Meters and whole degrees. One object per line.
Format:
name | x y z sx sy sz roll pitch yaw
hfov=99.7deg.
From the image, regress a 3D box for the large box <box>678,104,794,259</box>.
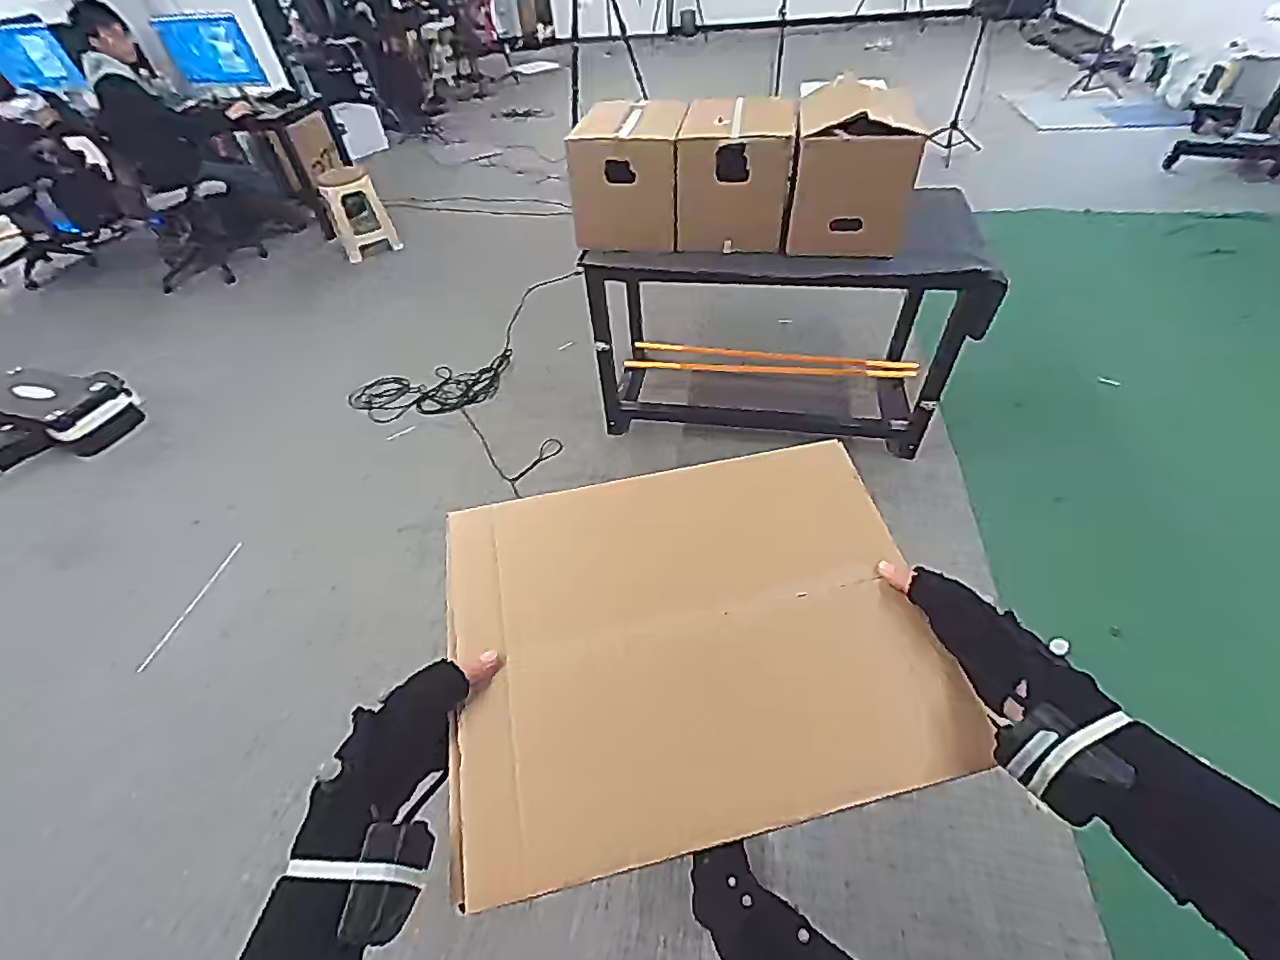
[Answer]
large box | 0.291 -0.929 1.675 0.320 0.320 0.408 4 48 10
